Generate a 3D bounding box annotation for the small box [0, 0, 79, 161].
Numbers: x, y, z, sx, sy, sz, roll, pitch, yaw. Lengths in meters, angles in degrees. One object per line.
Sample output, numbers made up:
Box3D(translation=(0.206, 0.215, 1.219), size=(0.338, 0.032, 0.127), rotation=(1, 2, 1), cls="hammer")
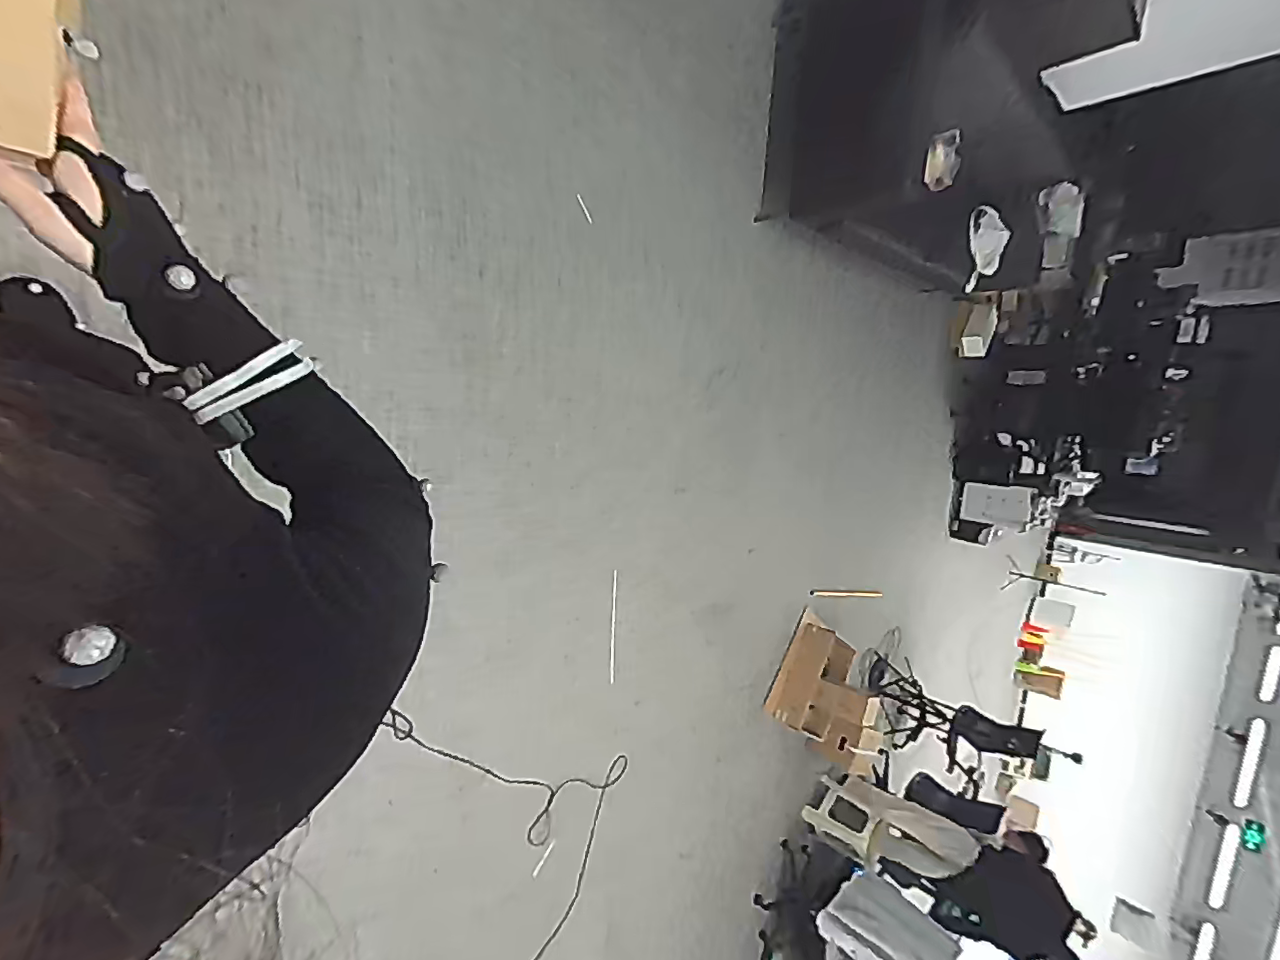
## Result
Box3D(translation=(-0.465, -0.320, 0.328), size=(0.168, 0.176, 0.179), rotation=(3, 110, -44), cls="small box")
